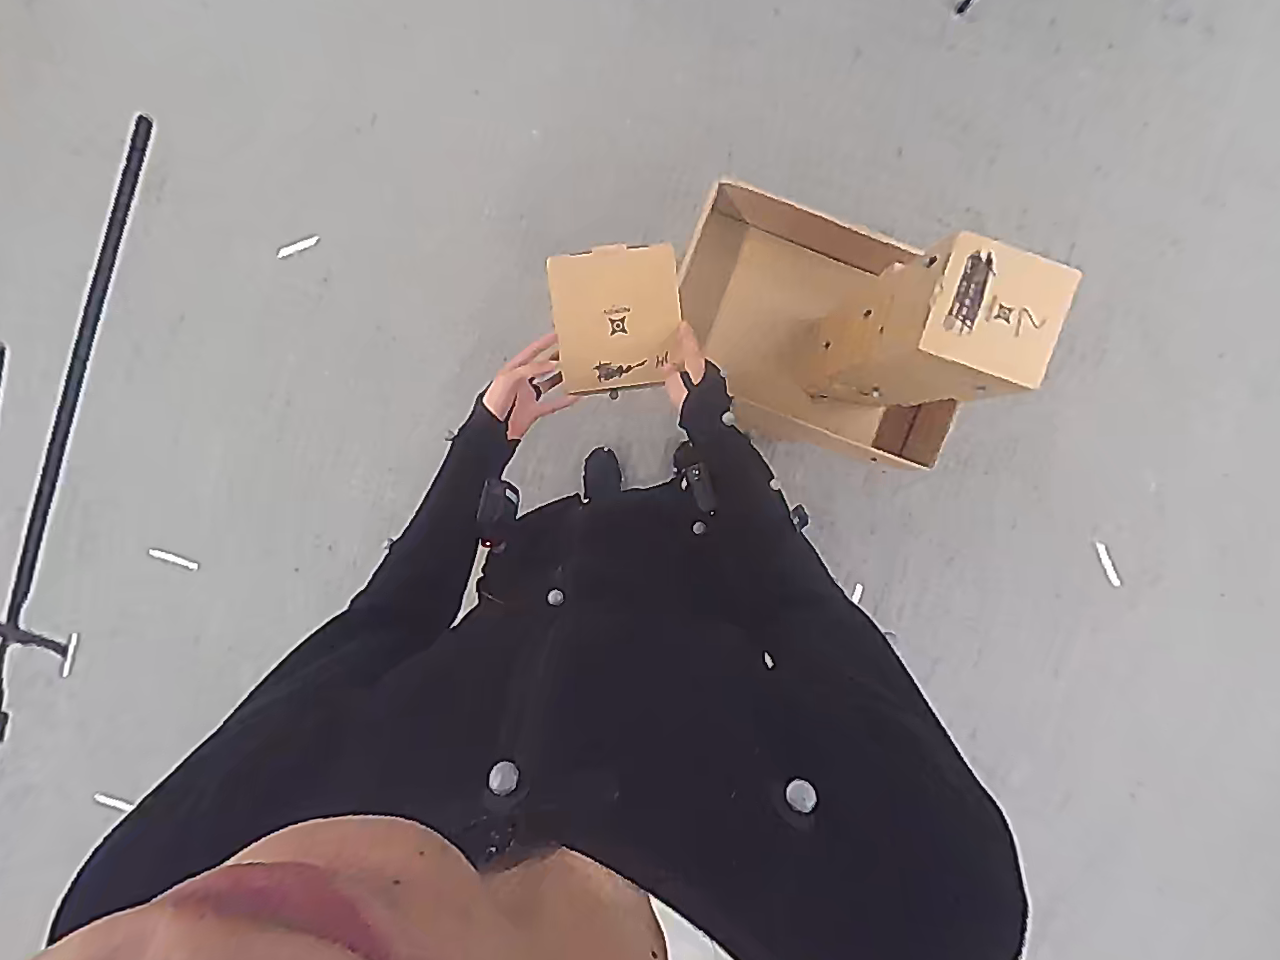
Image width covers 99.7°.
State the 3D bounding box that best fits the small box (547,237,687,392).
[{"bbox_3d":[-0.031,-0.225,0.776,0.168,0.176,0.179,-8,98,0],"label":"small box"}]

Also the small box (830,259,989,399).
[{"bbox_3d":[0.460,-0.254,0.954,0.168,0.176,0.179,19,94,0],"label":"small box"}]
